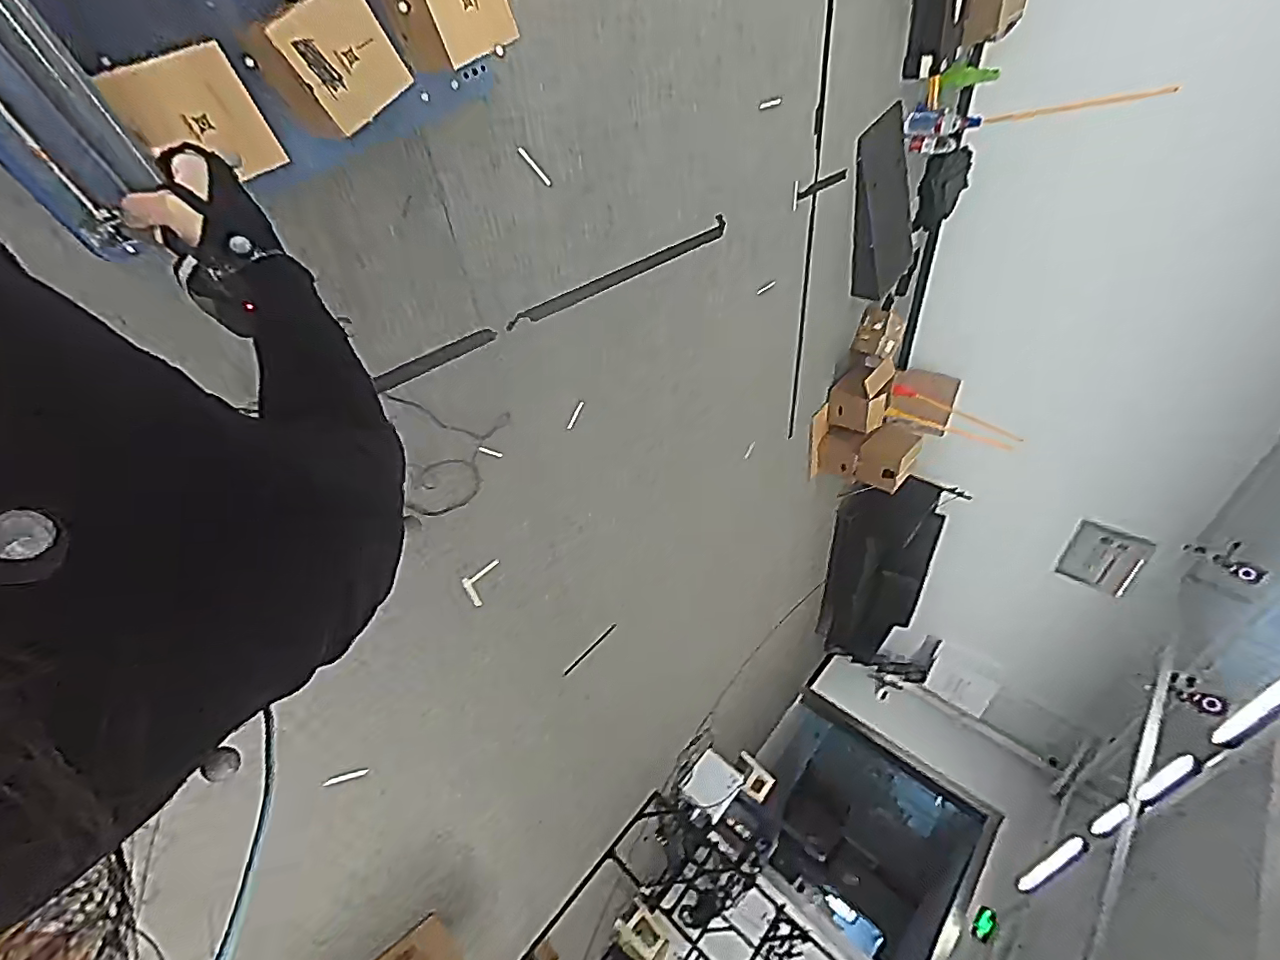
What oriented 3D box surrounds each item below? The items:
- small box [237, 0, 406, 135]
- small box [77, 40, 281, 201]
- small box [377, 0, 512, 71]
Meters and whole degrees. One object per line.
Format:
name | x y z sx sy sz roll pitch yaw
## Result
small box | -0.563 -0.739 0.951 0.179 0.176 0.168 -53 145 -15
small box | -0.727 -0.565 0.855 0.179 0.176 0.168 -45 143 -25
small box | -0.391 -0.925 1.052 0.179 0.176 0.168 -47 142 -22
